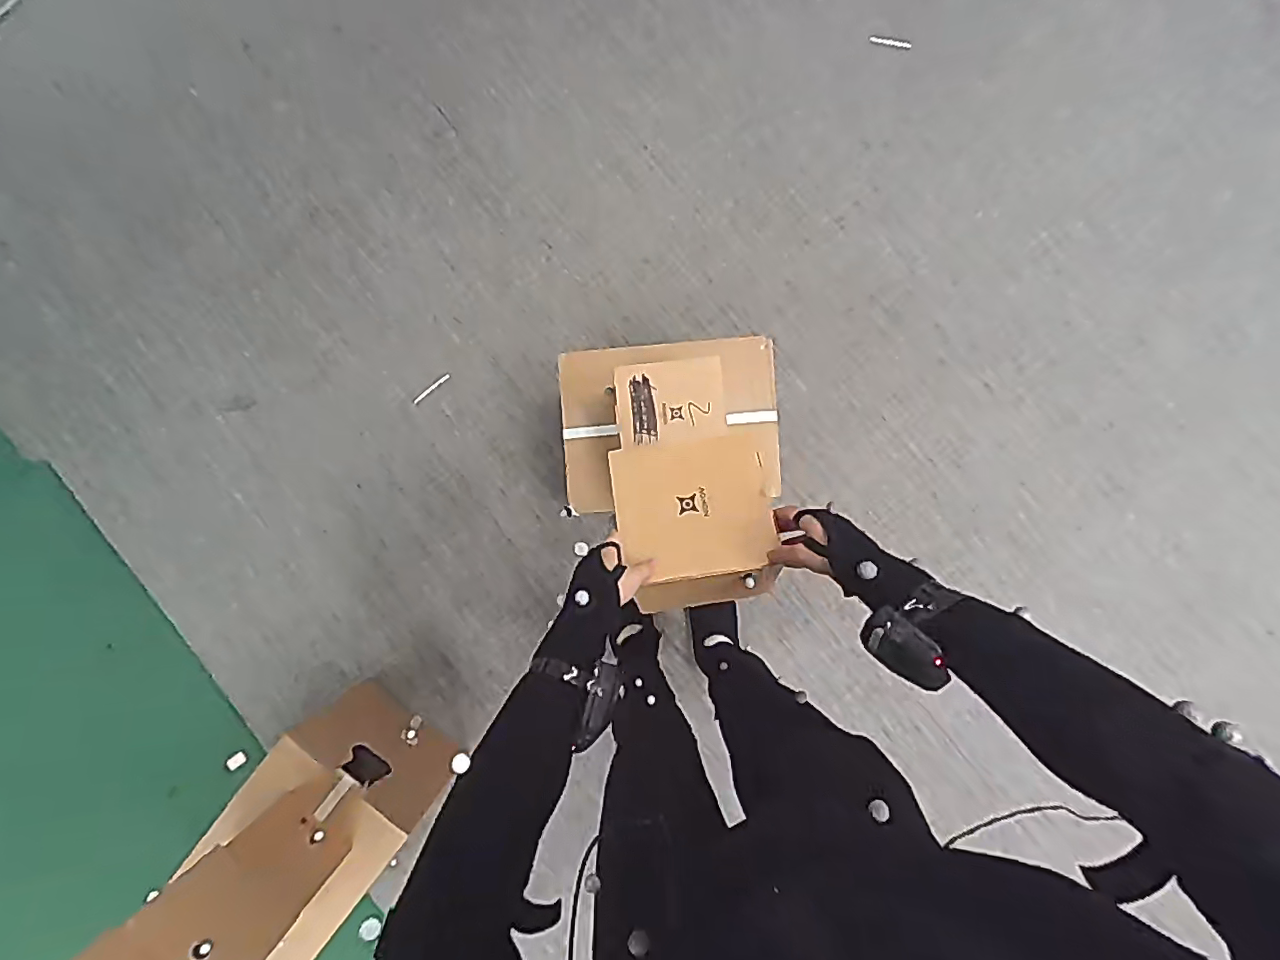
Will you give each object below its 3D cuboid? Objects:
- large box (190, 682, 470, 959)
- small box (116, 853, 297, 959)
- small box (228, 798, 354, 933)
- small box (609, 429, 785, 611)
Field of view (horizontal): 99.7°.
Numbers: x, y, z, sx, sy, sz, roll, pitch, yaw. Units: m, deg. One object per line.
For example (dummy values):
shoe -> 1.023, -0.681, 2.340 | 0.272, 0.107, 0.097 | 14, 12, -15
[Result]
large box -> -0.651, 0.737, 1.181 | 0.320, 0.320, 0.408 | 37, 91, 4
small box -> -0.647, 0.694, 0.773 | 0.179, 0.176, 0.168 | 42, 90, 2
small box -> -0.645, 0.708, 0.937 | 0.168, 0.176, 0.179 | 41, 90, 1
small box -> 0.066, 0.058, 0.675 | 0.179, 0.176, 0.168 | -9, 66, 1
